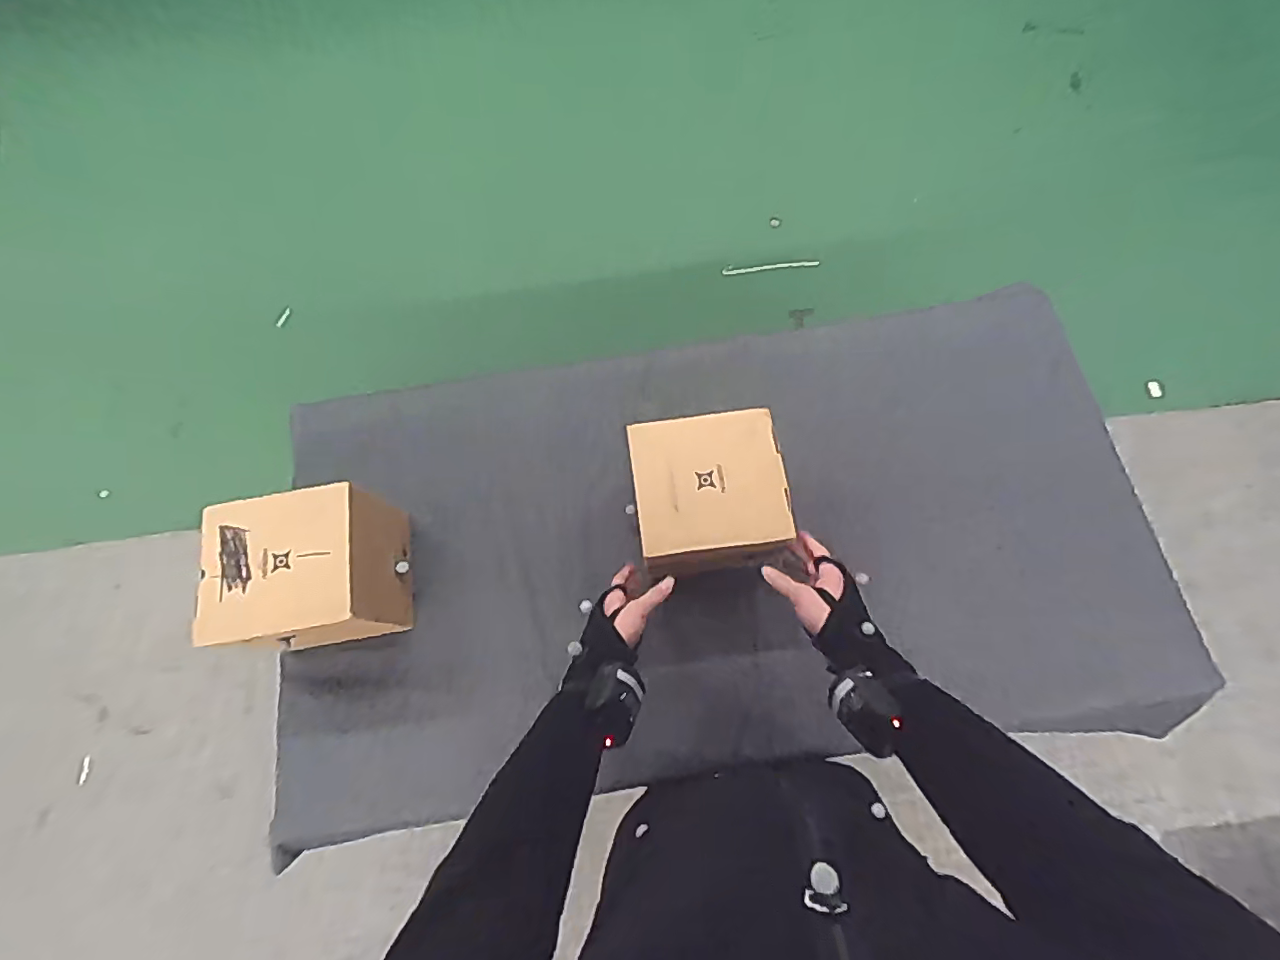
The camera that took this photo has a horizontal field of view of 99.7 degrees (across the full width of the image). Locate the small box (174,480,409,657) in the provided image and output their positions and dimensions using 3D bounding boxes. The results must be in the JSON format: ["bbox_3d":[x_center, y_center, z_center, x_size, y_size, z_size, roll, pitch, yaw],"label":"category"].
[{"bbox_3d":[-0.402,0.115,0.656,0.179,0.176,0.168,-9,71,-5],"label":"small box"}]

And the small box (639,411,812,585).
[{"bbox_3d":[0.095,0.031,0.689,0.179,0.176,0.168,-8,69,-1],"label":"small box"}]
